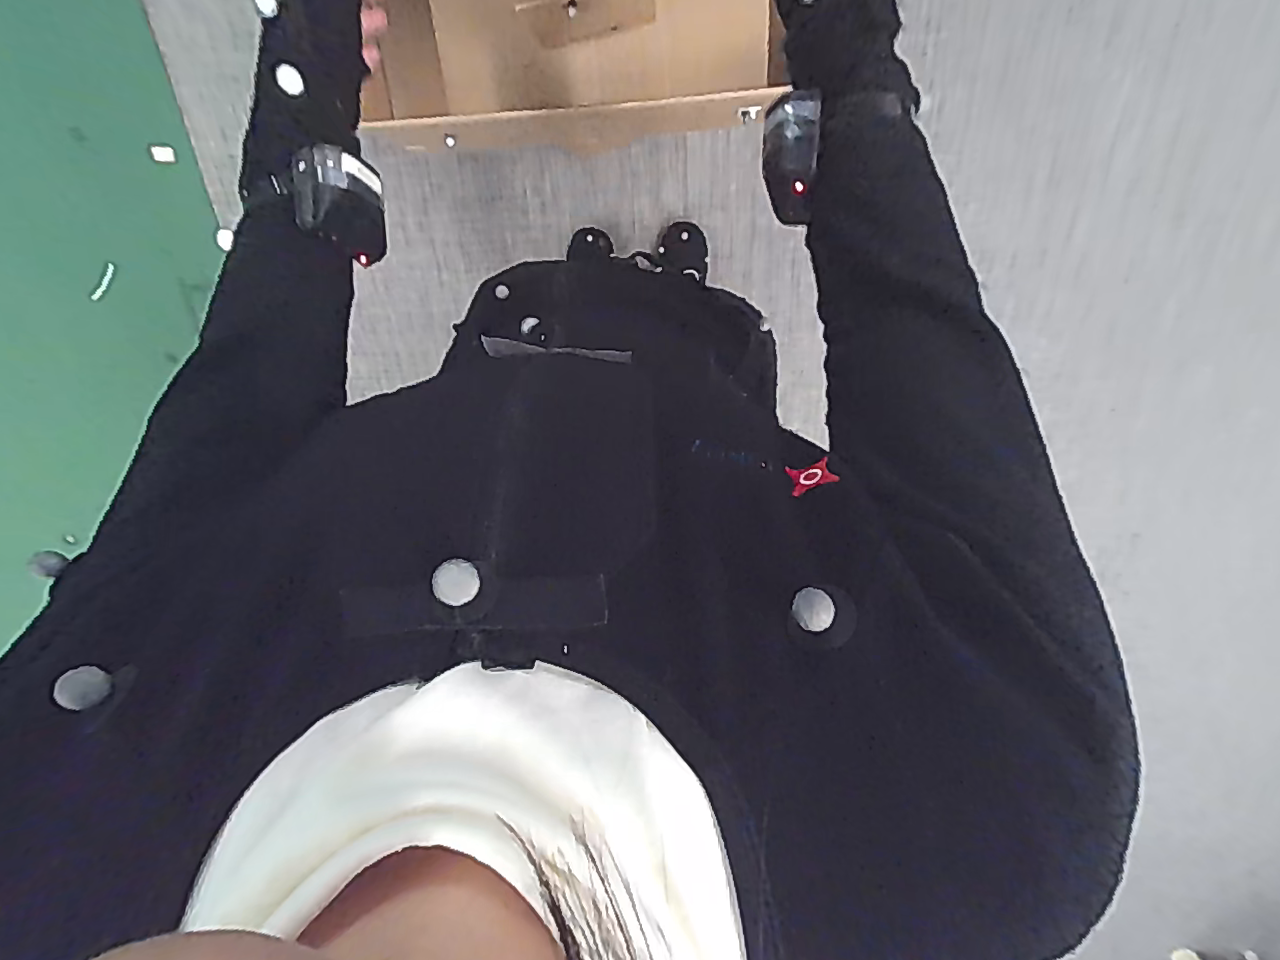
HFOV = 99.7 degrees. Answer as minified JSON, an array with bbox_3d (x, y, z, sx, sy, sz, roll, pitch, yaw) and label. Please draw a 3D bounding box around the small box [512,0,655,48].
[{"bbox_3d":[-0.076,-0.664,0.648,0.168,0.176,0.179,-8,114,8],"label":"small box"}]
